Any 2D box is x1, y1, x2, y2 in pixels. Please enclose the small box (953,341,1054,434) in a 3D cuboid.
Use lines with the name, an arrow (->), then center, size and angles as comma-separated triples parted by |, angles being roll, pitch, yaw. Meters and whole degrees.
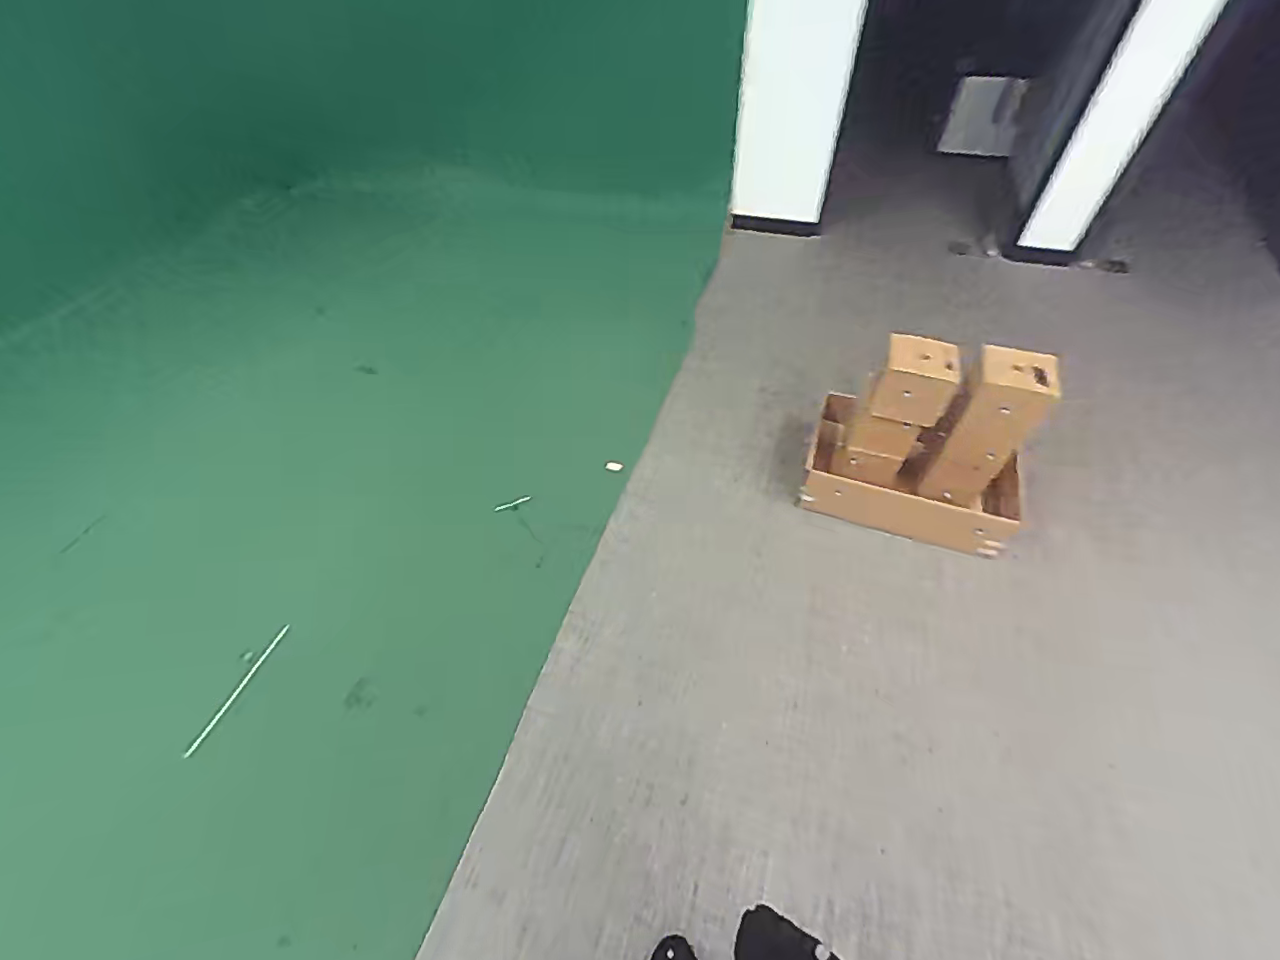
small box -> 0.979, -0.247, 1.467 | 0.179, 0.176, 0.168 | 15, 54, 16

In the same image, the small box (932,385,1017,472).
small box -> 0.984, -0.149, 1.599 | 0.168, 0.176, 0.179 | 15, 54, 15

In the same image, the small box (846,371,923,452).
small box -> 0.745, -0.207, 1.659 | 0.179, 0.176, 0.168 | 14, 54, 11
